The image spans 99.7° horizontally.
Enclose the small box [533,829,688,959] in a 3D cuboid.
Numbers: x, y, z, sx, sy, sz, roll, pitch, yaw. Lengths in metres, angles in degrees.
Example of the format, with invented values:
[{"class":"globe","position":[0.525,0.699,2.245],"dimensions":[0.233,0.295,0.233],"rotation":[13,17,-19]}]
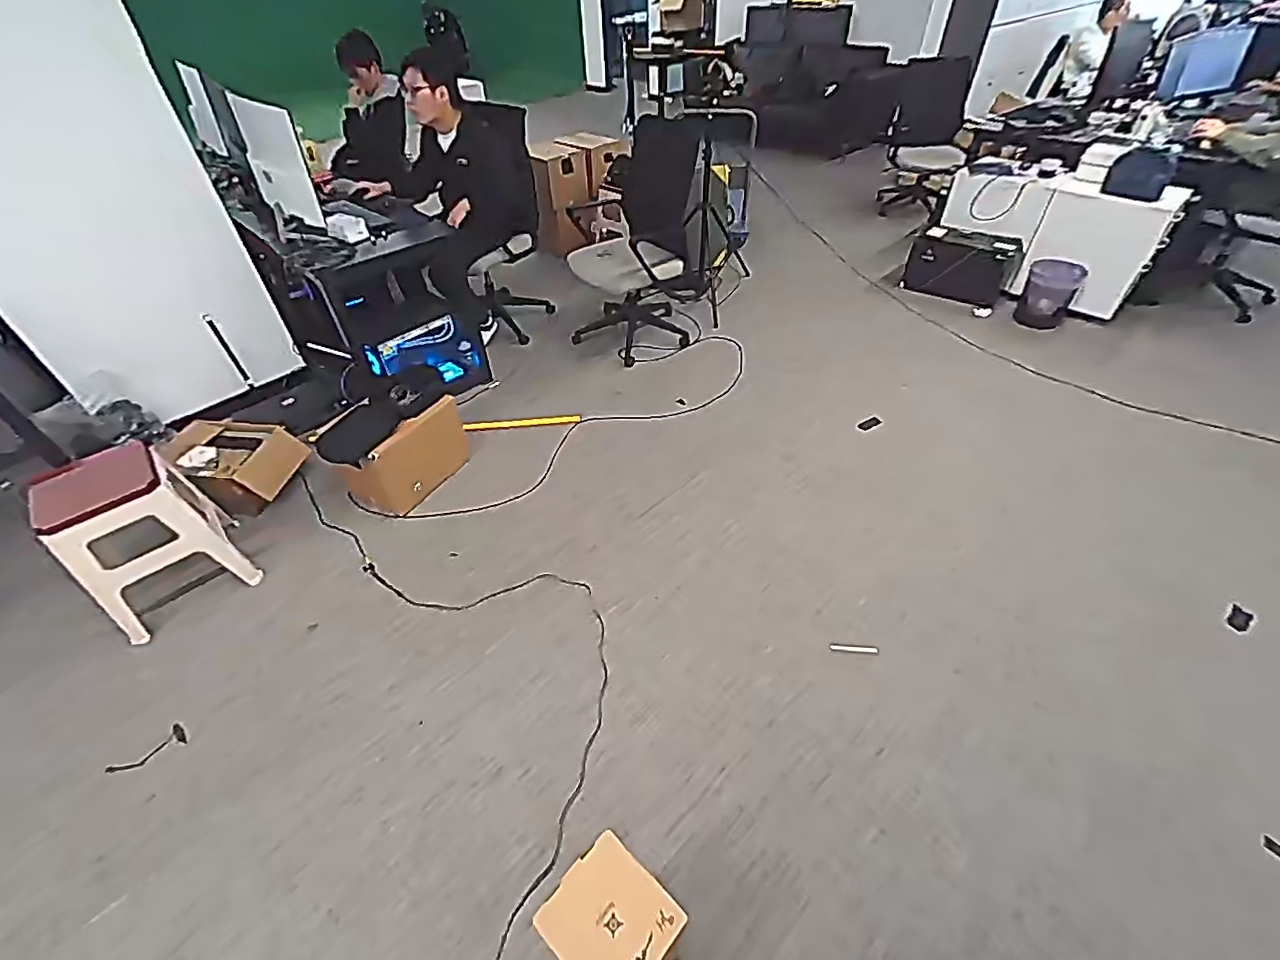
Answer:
[{"class":"small box","position":[-0.043,0.711,0.857],"dimensions":[0.179,0.176,0.168],"rotation":[32,53,30]}]
